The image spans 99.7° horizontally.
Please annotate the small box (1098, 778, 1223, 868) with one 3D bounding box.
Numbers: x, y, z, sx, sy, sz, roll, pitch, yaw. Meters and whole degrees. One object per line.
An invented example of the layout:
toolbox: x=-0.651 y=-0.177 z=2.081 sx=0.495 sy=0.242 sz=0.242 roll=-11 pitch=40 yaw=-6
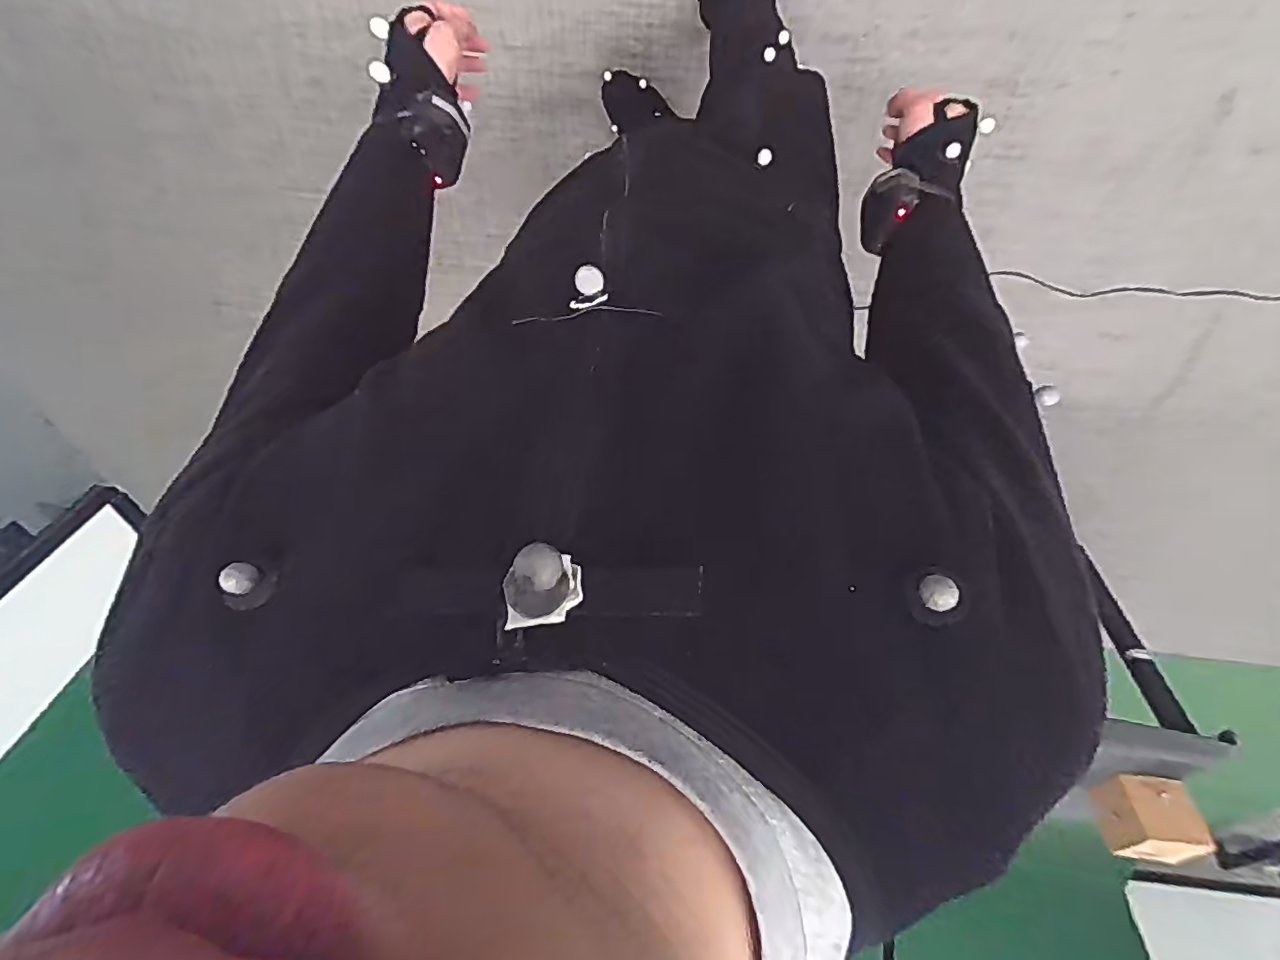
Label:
small box: x=1.465 y=0.977 z=1.542 sx=0.168 sy=0.176 sz=0.179 roll=4 pitch=134 yaw=5
